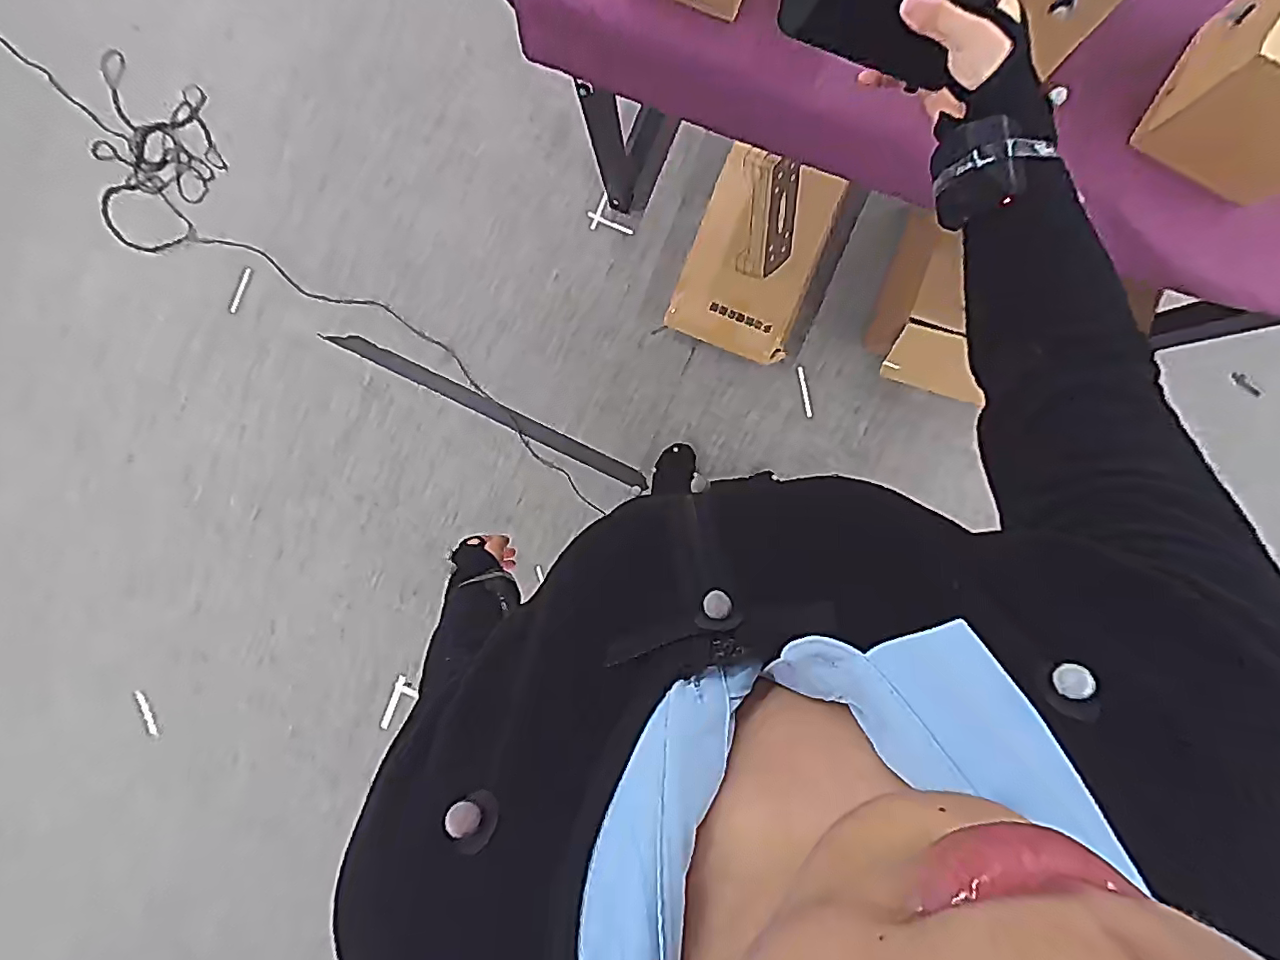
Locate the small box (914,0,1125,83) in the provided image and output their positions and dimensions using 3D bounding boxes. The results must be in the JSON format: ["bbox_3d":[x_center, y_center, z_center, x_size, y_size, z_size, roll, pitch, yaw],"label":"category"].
[{"bbox_3d":[0.457,-0.605,0.617,0.179,0.176,0.168,23,92,3],"label":"small box"}]

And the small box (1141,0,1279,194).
[{"bbox_3d":[0.741,-0.461,0.606,0.179,0.176,0.168,30,95,2],"label":"small box"}]
